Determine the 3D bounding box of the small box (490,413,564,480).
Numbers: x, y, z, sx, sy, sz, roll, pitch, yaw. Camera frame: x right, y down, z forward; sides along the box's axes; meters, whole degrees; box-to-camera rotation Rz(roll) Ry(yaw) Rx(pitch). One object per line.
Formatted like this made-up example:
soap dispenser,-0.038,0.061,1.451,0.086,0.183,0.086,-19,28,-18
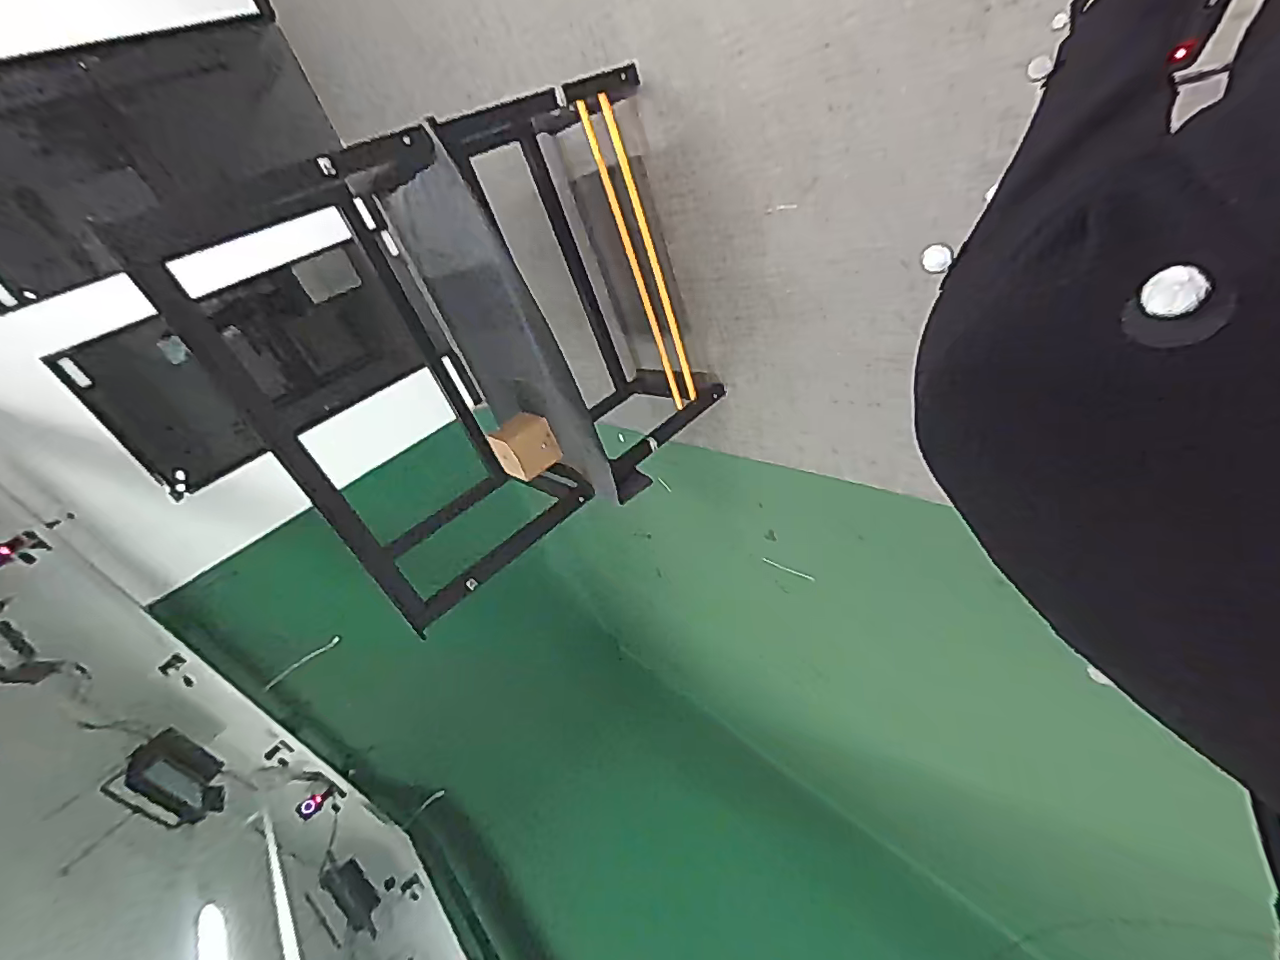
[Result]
small box,-0.402,-0.126,1.944,0.179,0.176,0.168,18,139,48
